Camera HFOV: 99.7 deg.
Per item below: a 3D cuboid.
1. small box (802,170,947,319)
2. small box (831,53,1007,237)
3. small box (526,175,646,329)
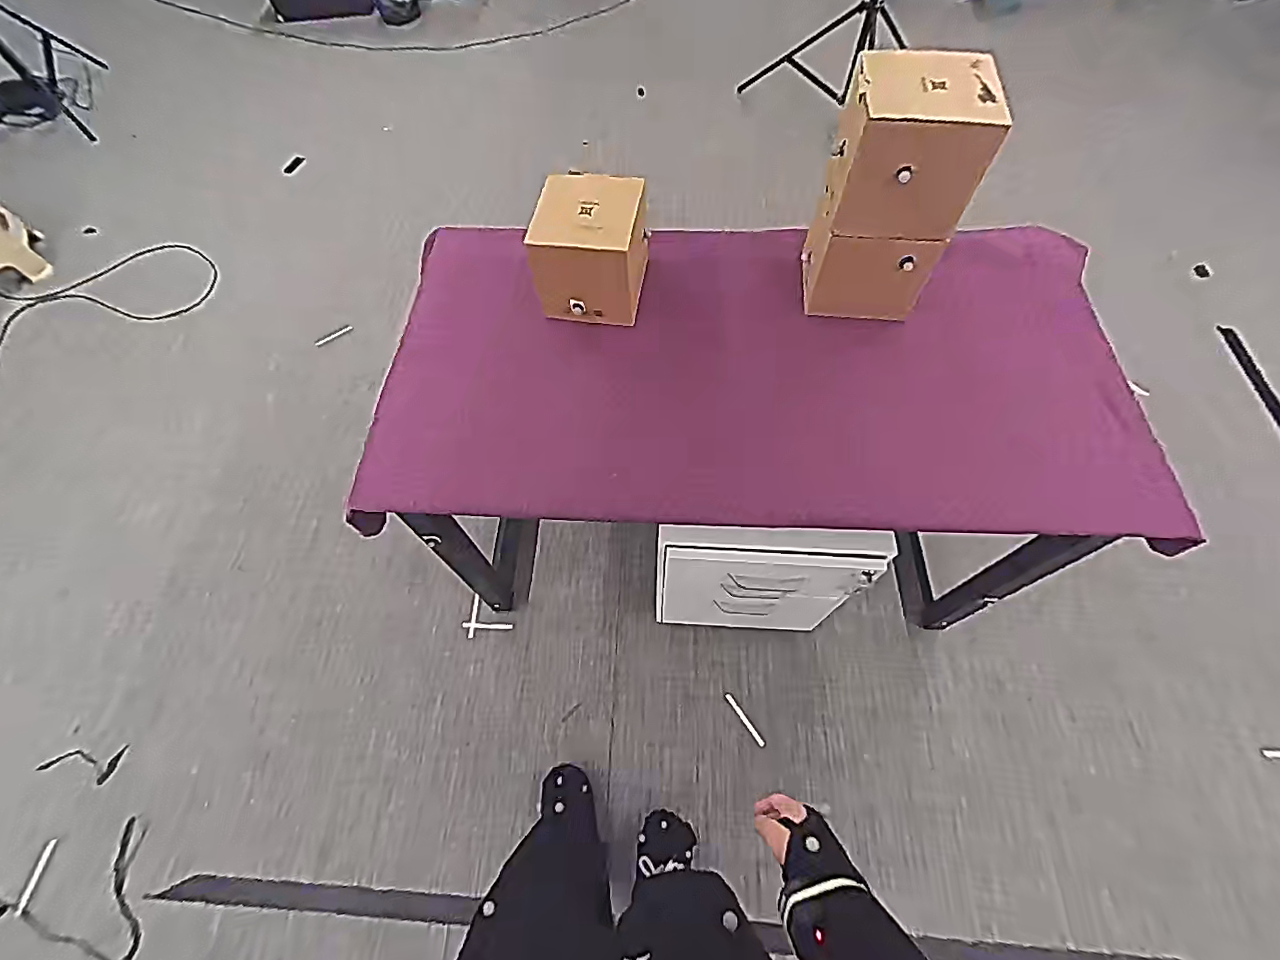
[{"bbox_3d":[0.384,-0.393,0.917,0.179,0.176,0.168,4,62,5],"label":"small box"},{"bbox_3d":[0.377,-0.472,0.773,0.179,0.176,0.168,5,63,6],"label":"small box"},{"bbox_3d":[-0.081,-0.389,0.931,0.168,0.176,0.179,6,64,6],"label":"small box"}]
